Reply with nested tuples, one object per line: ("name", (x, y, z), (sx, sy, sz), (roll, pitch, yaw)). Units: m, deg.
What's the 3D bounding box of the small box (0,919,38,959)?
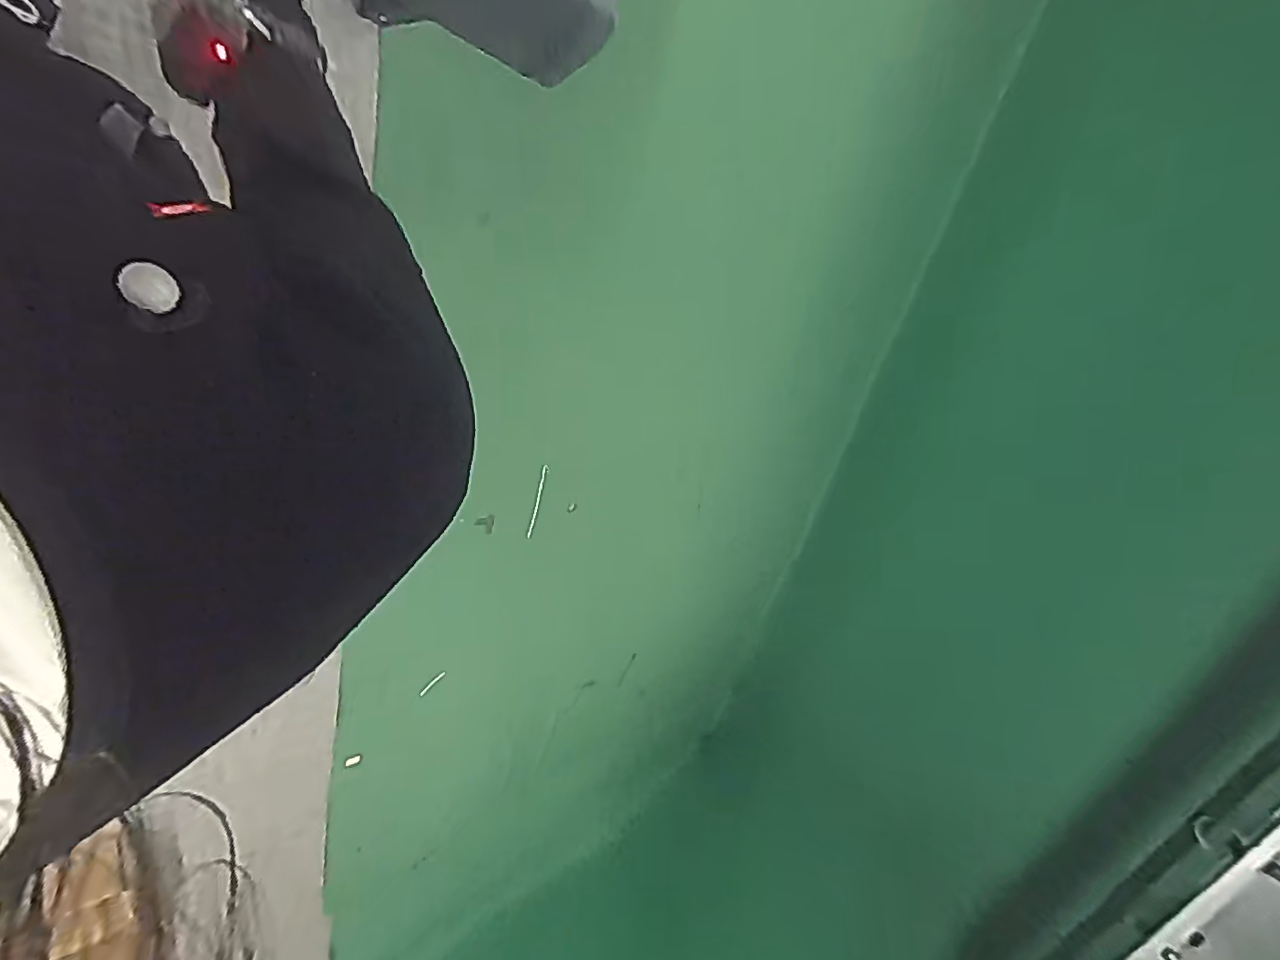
("small box", (-1.617, 1.238, 1.327), (0.168, 0.176, 0.179), (-11, 126, -43))
